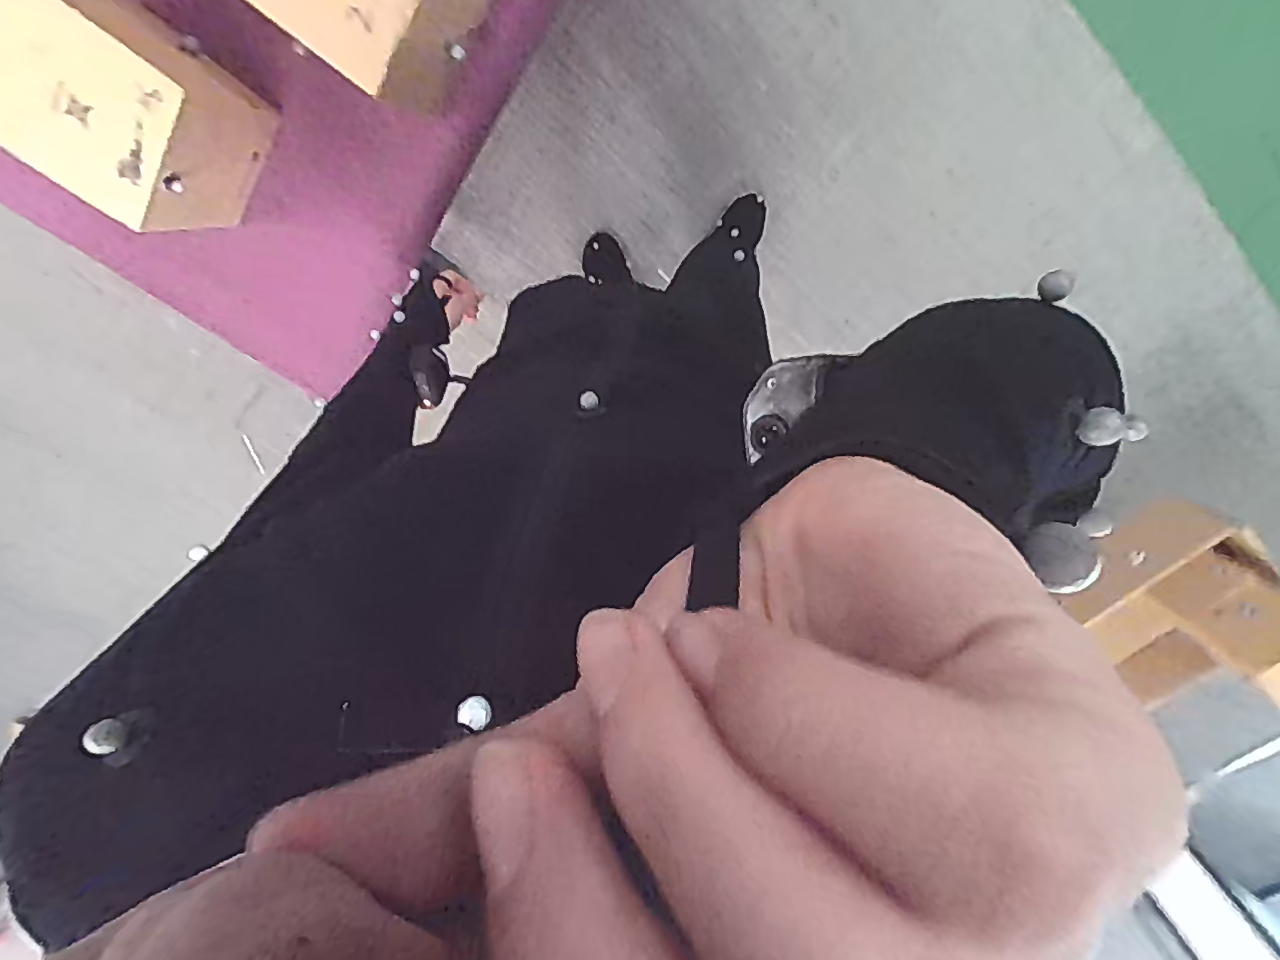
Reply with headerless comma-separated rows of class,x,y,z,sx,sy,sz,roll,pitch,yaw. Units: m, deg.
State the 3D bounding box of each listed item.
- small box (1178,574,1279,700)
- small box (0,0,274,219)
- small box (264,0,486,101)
small box,1.366,0.339,1.190,0.179,0.176,0.168,37,111,-19
small box,-0.563,-0.418,0.598,0.179,0.176,0.168,35,114,-17
small box,-0.280,-0.523,0.544,0.179,0.176,0.168,33,113,-16
